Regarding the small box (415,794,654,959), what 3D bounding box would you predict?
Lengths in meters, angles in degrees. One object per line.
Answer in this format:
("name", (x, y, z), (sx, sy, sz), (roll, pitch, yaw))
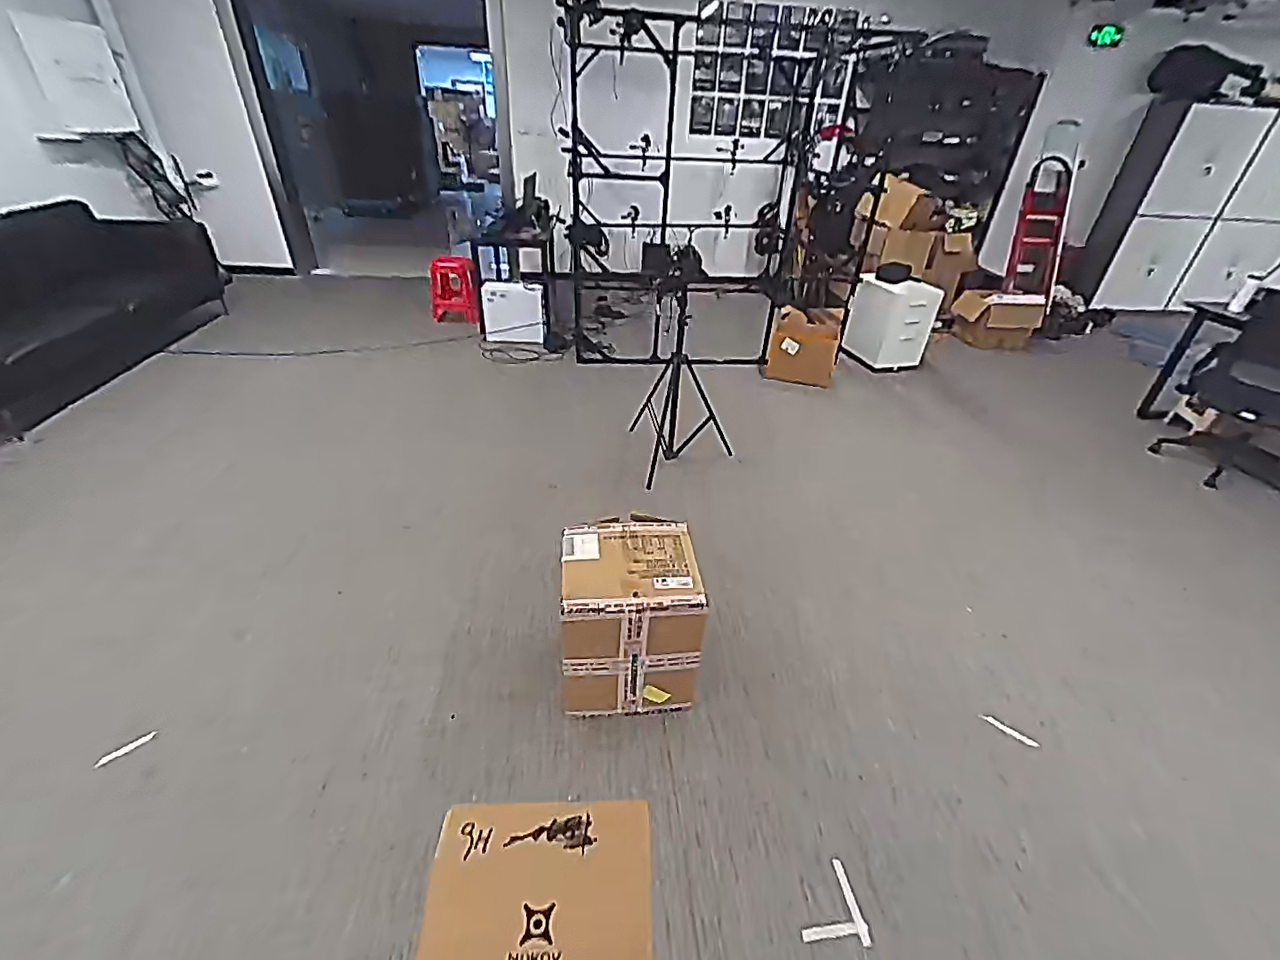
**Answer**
("small box", (-0.072, 0.375, 0.433), (0.168, 0.176, 0.179), (0, 42, -2))
